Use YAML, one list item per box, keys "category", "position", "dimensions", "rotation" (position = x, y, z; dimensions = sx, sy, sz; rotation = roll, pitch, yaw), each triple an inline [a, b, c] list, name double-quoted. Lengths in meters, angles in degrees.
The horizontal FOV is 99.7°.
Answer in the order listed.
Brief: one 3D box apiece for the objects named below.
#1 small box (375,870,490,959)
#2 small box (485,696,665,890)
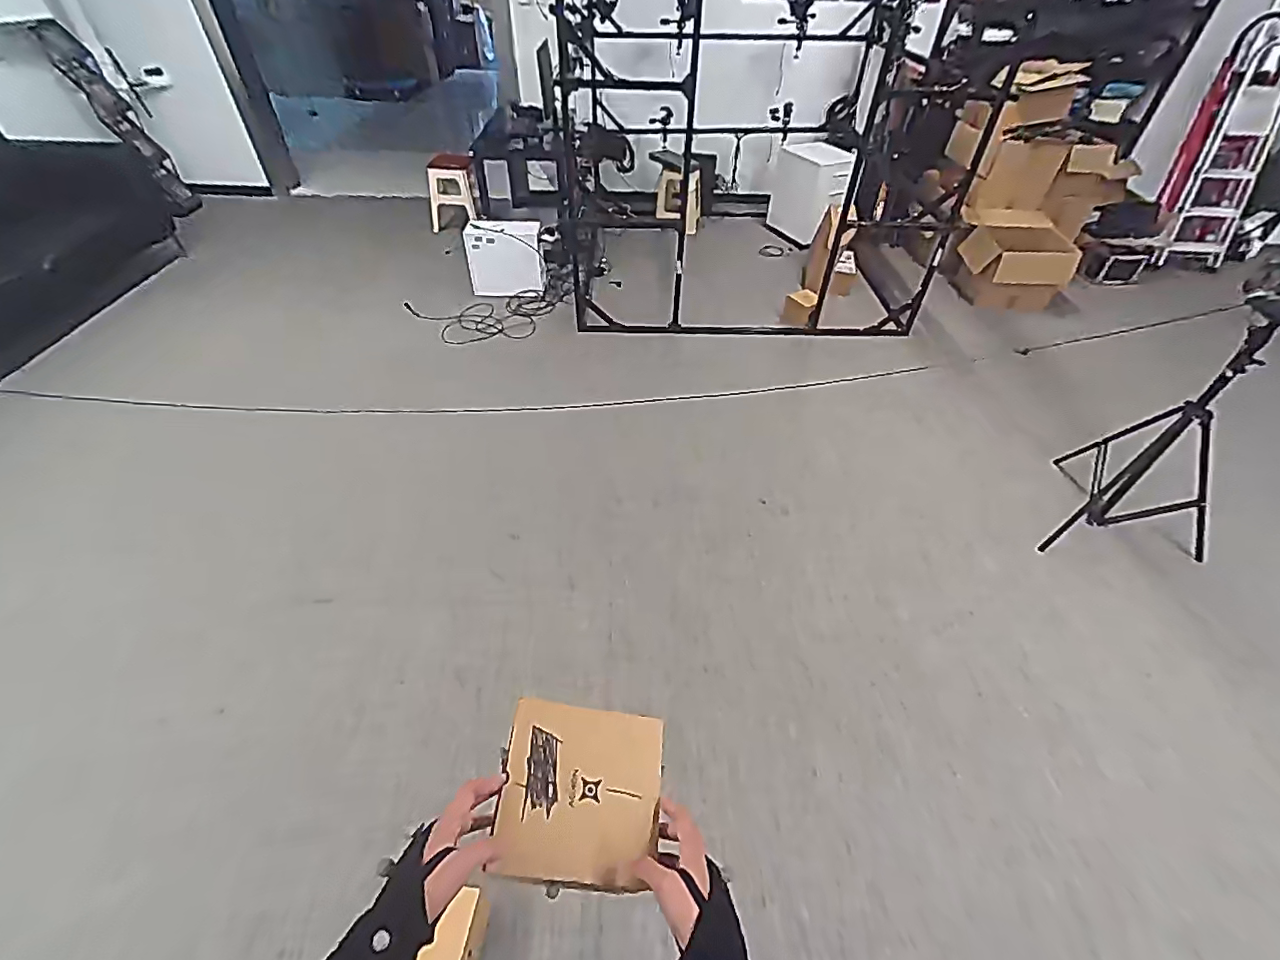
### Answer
- category: "small box"
  position: [-0.453, 1.003, 1.214]
  dimensions: [0.179, 0.176, 0.168]
  rotation: [5, 45, 5]
- category: "small box"
  position: [-0.079, 0.379, 0.647]
  dimensions: [0.179, 0.176, 0.168]
  rotation: [13, 51, -8]
